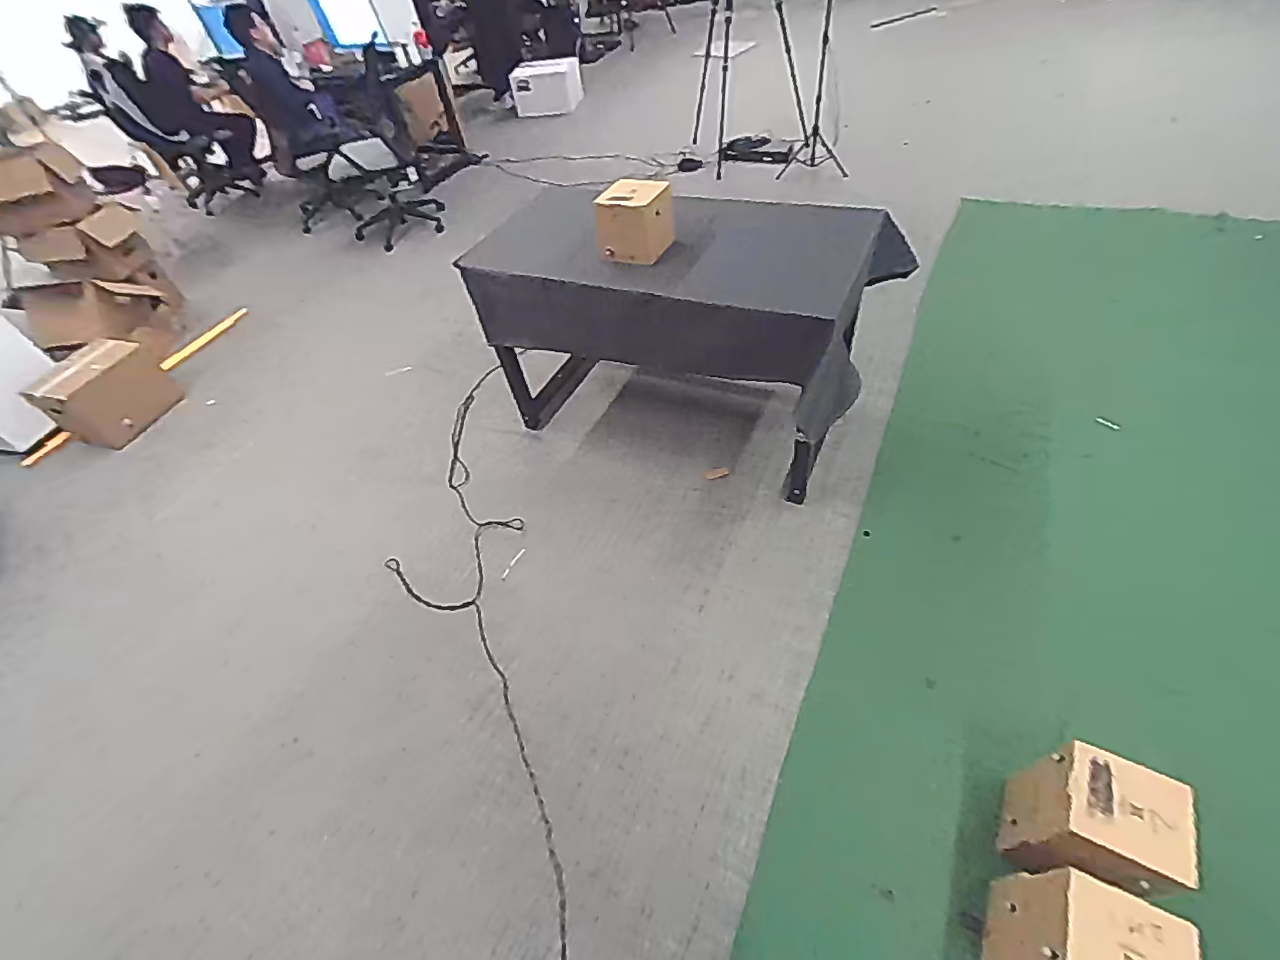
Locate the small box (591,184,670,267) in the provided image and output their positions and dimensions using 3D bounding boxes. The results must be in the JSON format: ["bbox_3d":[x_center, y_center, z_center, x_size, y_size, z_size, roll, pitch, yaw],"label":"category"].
[{"bbox_3d":[-0.018,-0.747,1.589,0.168,0.176,0.179,16,52,22],"label":"small box"}]
